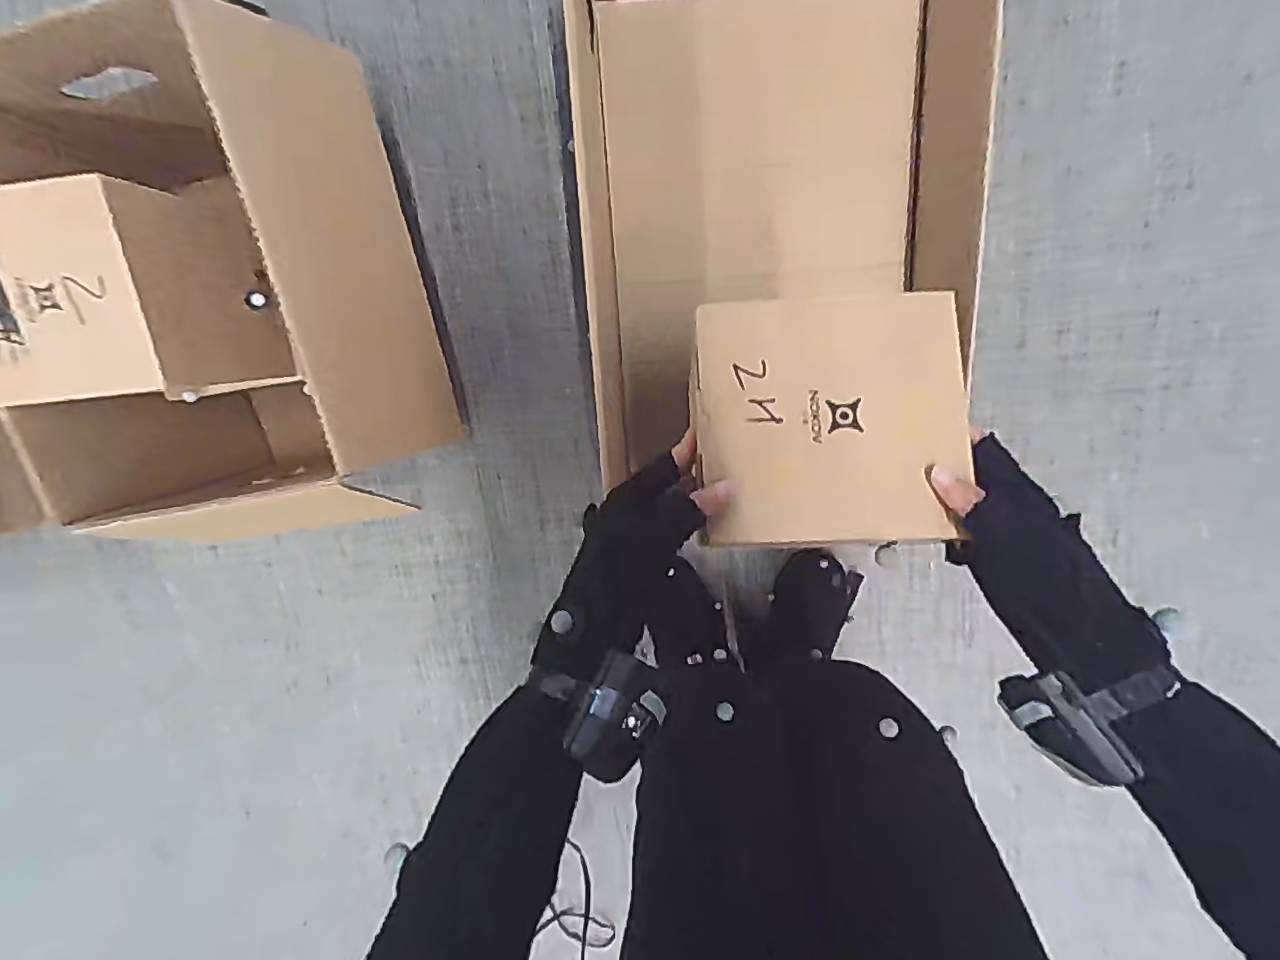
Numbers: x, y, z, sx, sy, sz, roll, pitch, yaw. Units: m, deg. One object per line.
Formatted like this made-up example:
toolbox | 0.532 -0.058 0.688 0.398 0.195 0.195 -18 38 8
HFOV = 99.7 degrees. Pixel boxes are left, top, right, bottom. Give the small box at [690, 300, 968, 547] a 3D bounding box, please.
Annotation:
small box | 0.134 -0.032 0.451 0.179 0.176 0.168 -1 80 3
